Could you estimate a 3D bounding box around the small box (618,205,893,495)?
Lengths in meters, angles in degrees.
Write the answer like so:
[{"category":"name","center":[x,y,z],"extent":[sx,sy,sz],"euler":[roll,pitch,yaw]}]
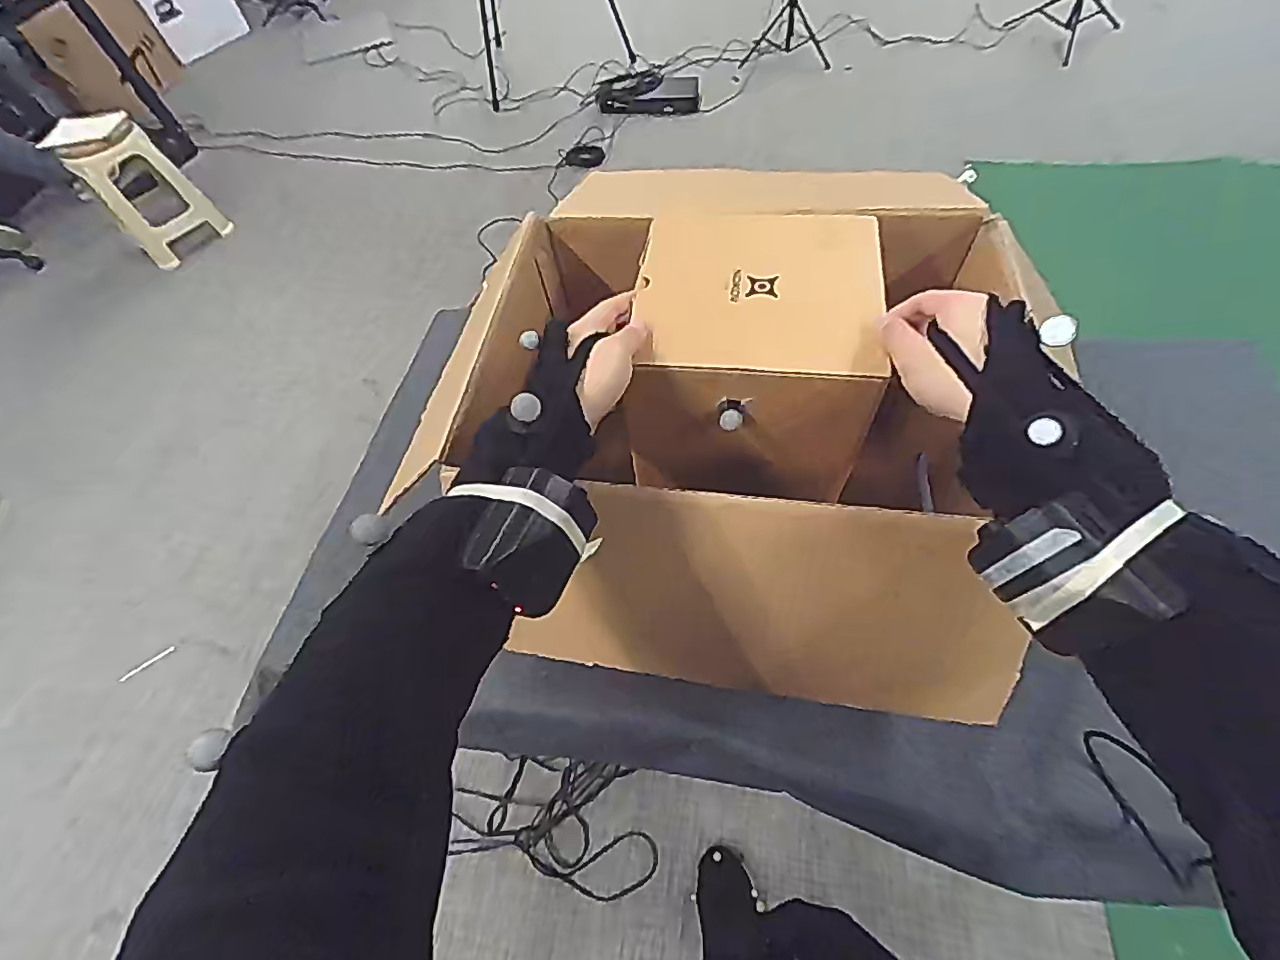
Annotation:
[{"category":"small box","center":[0.091,-0.100,0.451],"extent":[0.179,0.176,0.168],"euler":[5,59,10]}]
